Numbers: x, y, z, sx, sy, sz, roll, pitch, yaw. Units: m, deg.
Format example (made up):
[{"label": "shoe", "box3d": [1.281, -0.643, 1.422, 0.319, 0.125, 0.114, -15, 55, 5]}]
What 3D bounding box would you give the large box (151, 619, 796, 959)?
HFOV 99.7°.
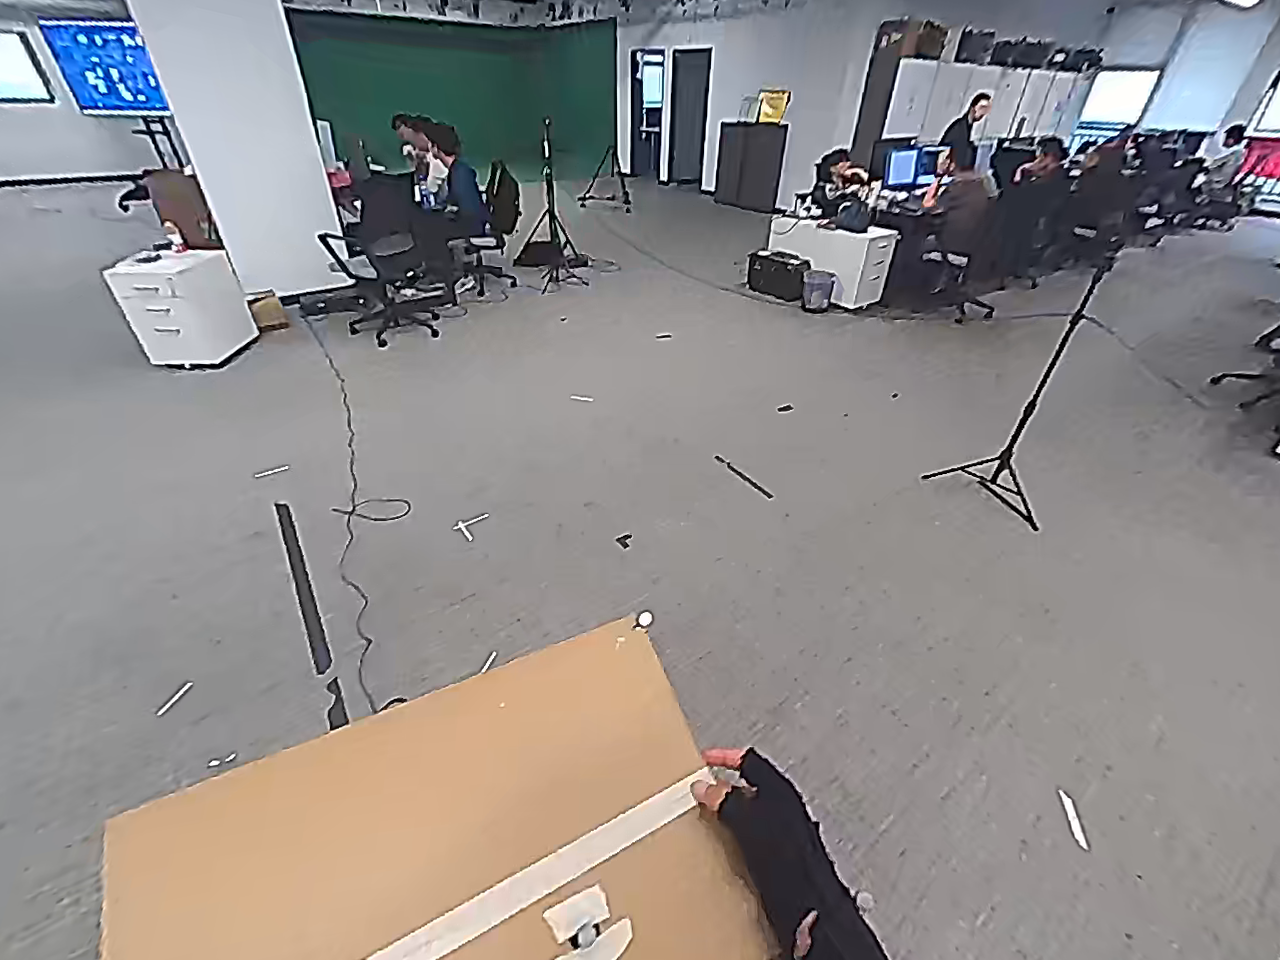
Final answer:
[{"label": "large box", "box3d": [-0.145, 0.393, 0.520, 0.408, 0.320, 0.320, -16, 62, -24]}]
